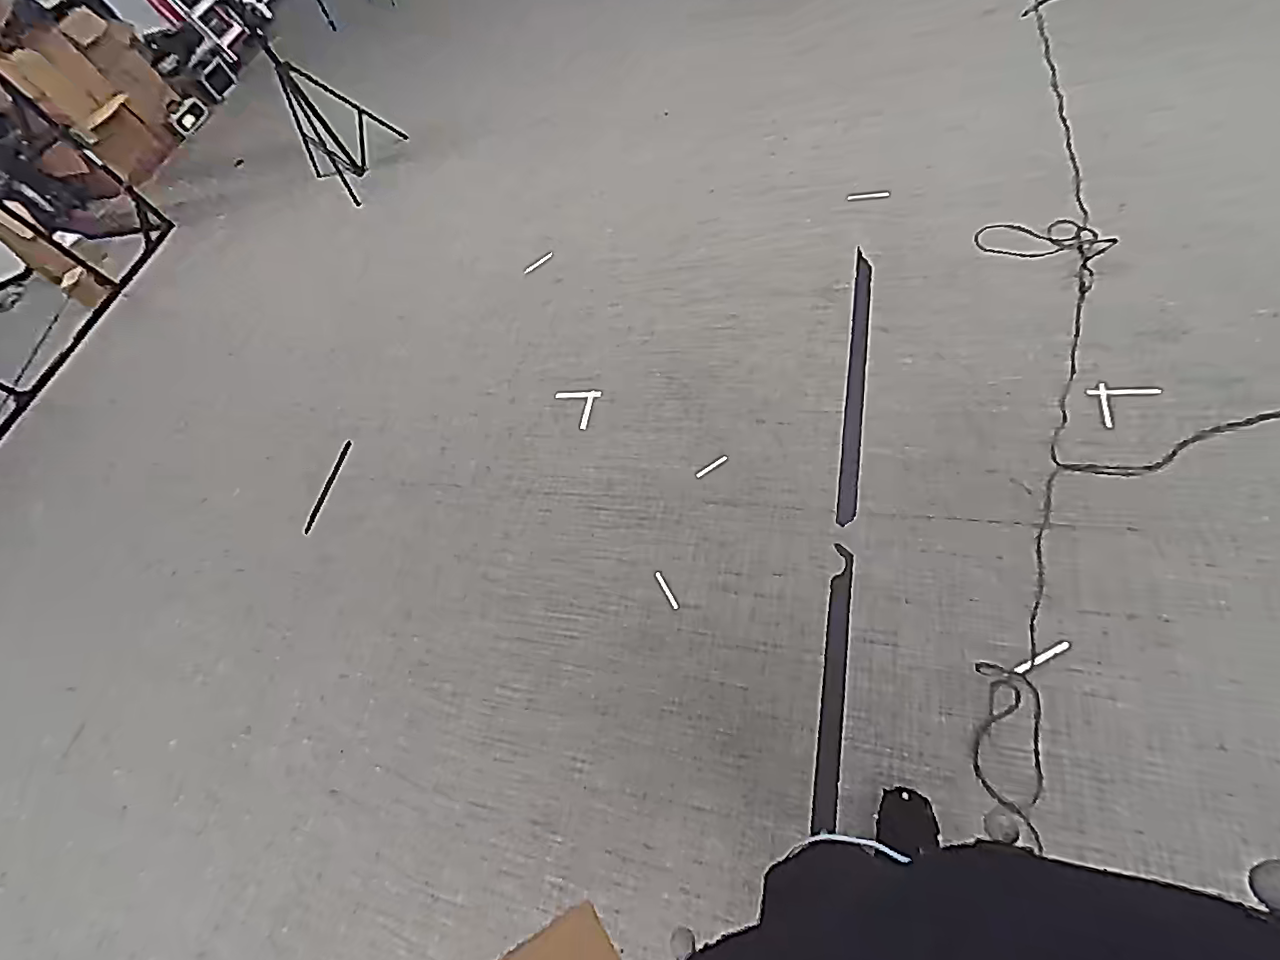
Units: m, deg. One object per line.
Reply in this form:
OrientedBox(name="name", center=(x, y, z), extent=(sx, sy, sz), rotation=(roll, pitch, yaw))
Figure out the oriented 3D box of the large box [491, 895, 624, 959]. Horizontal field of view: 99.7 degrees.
OrientedBox(name="large box", center=(-0.059, 0.610, 0.359), extent=(0.320, 0.320, 0.408), rotation=(-23, 72, -24))
